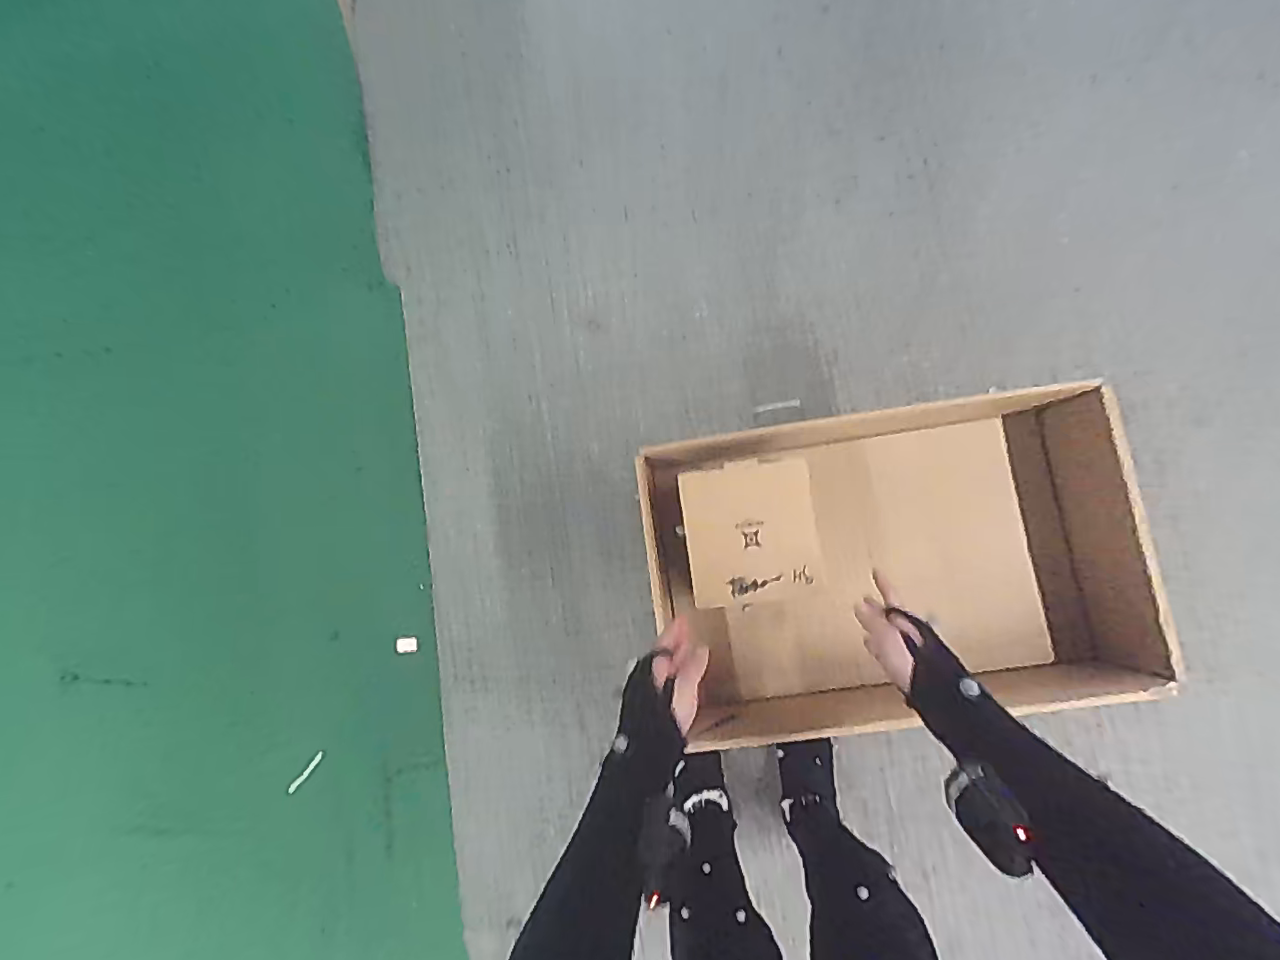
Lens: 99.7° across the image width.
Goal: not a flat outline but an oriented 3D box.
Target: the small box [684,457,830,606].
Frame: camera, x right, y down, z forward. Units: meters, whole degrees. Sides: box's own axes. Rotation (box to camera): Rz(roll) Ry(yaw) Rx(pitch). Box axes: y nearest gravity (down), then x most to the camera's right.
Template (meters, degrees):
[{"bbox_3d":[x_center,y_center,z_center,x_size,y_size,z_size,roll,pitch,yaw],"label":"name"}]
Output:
[{"bbox_3d":[0.151,0.075,0.757,0.168,0.176,0.179,-7,83,4],"label":"small box"}]
